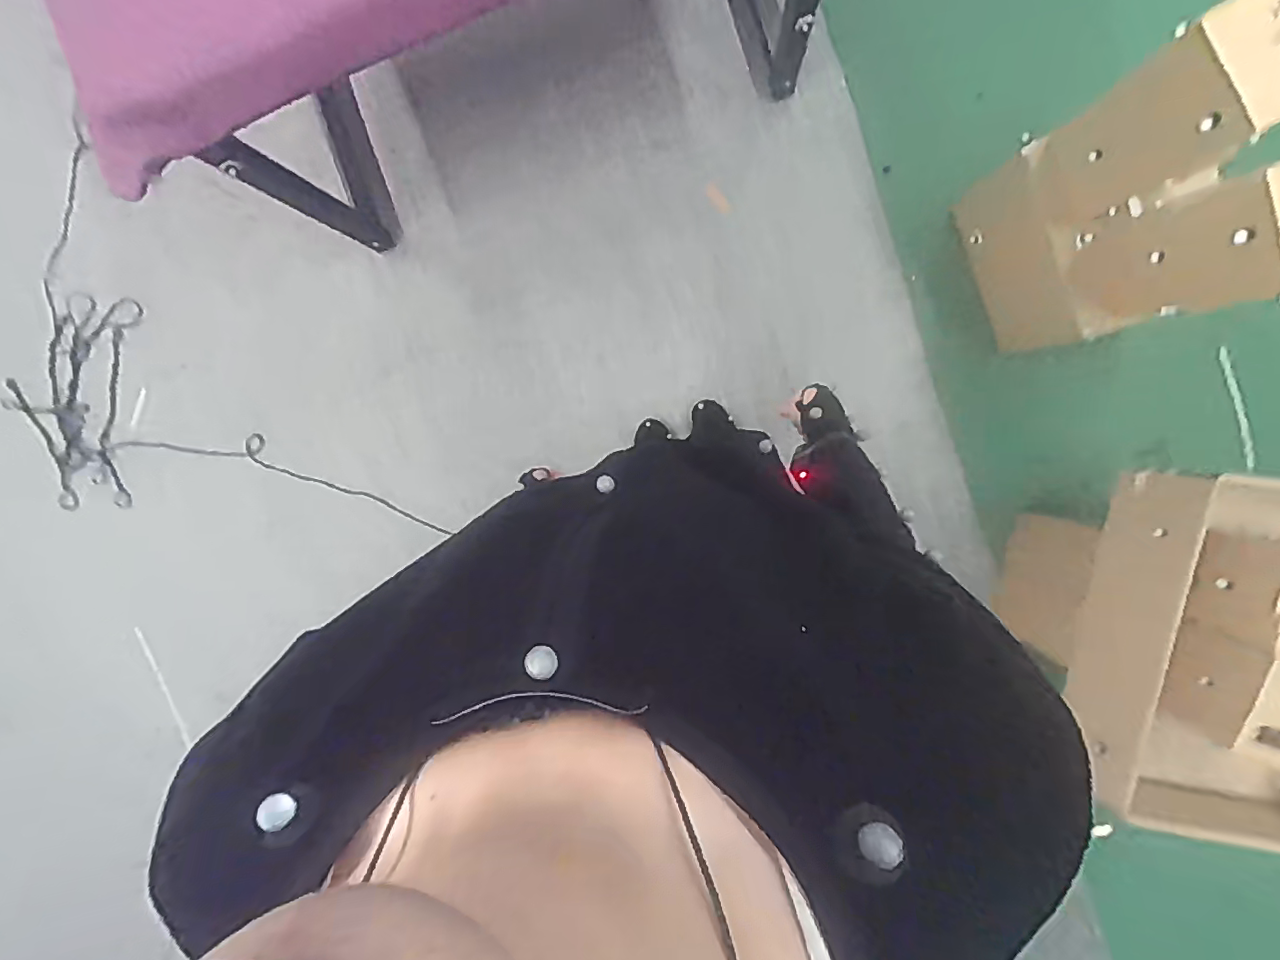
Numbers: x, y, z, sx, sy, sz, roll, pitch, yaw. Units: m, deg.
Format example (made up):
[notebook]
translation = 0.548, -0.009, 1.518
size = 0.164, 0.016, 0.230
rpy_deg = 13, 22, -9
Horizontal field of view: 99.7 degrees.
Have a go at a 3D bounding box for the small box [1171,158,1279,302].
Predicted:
[small box]
translation = 0.962, -0.381, 0.806
size = 0.168, 0.176, 0.179
rpy_deg = -17, 93, 9
